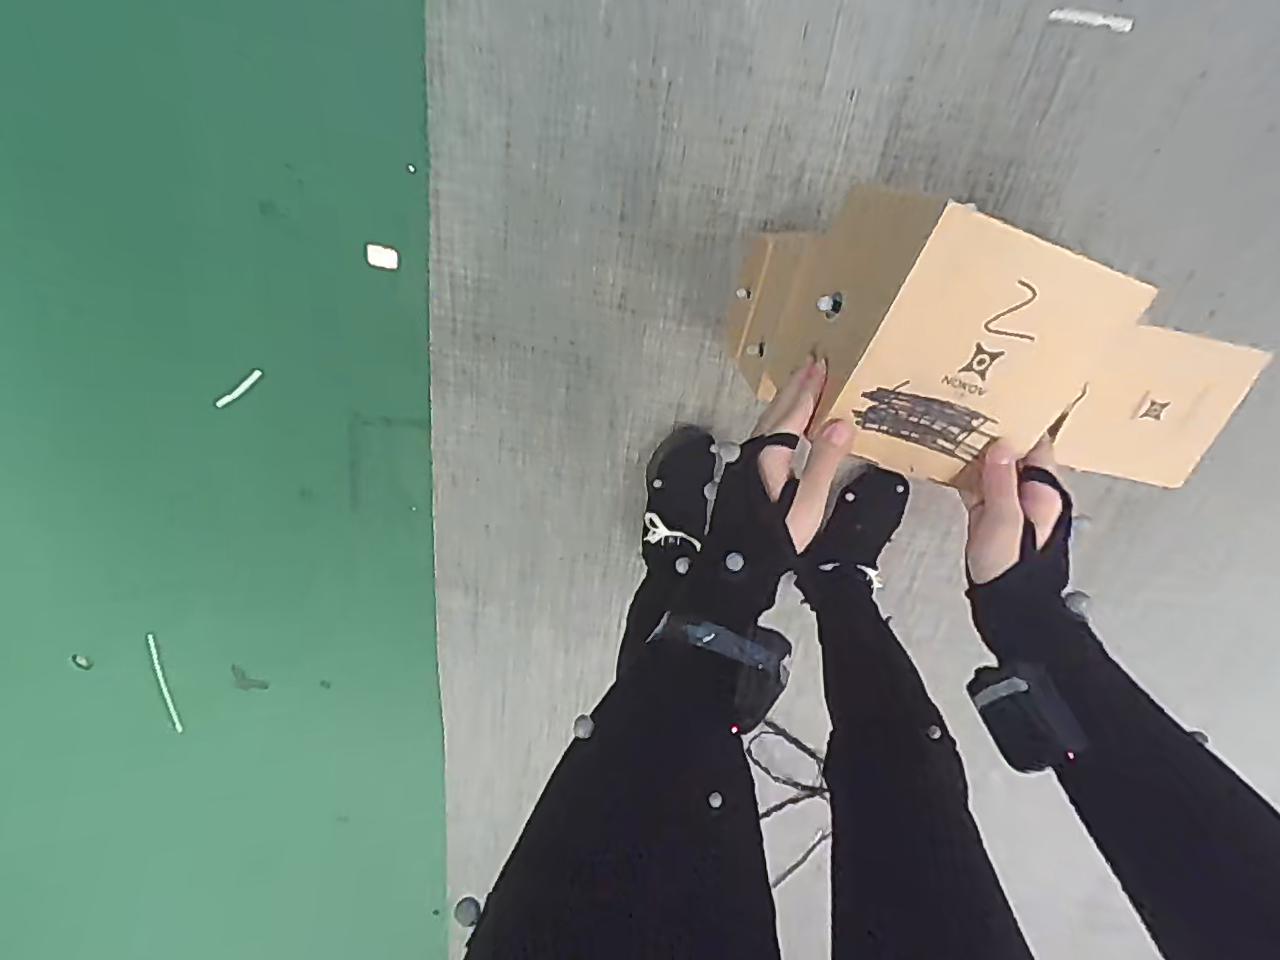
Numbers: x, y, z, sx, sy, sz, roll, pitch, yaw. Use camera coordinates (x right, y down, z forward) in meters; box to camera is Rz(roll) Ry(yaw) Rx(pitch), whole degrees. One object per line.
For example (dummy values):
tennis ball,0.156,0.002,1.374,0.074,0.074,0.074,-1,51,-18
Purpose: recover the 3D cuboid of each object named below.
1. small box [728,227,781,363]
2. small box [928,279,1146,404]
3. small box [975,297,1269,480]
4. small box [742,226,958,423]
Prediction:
small box,0.232,-0.263,0.799,0.168,0.176,0.179,11,115,-3
small box,0.571,-0.201,0.811,0.179,0.176,0.168,9,116,0
small box,0.563,-0.122,0.668,0.179,0.176,0.168,11,116,-3
small box,0.229,-0.192,0.649,0.168,0.176,0.179,13,115,-4
